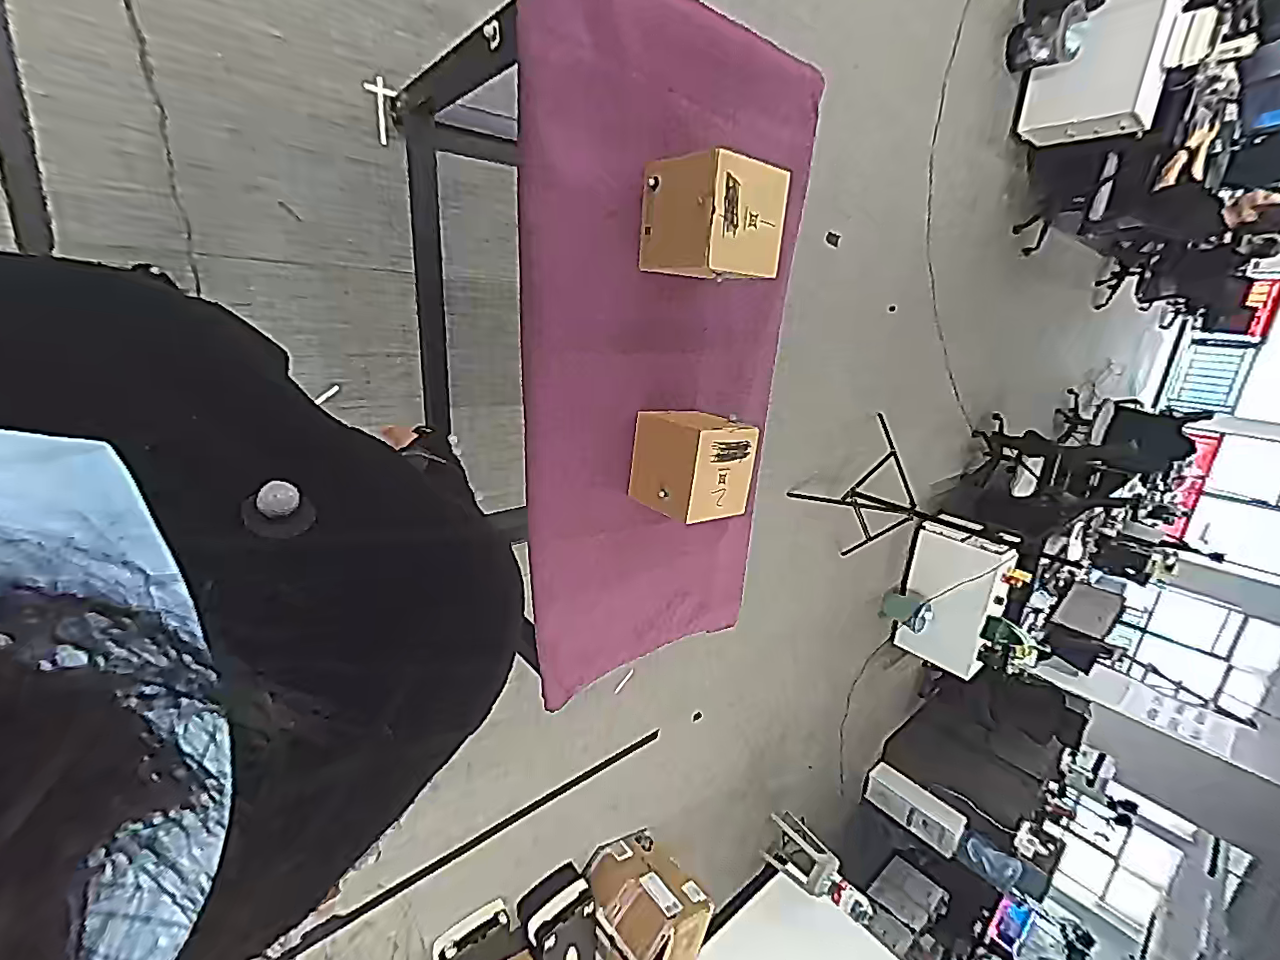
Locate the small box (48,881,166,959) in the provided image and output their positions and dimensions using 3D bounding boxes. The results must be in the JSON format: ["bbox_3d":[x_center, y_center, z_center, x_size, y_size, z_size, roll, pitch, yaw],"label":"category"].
[{"bbox_3d":[-1.216,1.087,1.242,0.168,0.176,0.179,-16,116,-38],"label":"small box"}]

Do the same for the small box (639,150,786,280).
[{"bbox_3d":[0.116,-0.433,0.914,0.179,0.176,0.168,-11,113,-39],"label":"small box"}]
